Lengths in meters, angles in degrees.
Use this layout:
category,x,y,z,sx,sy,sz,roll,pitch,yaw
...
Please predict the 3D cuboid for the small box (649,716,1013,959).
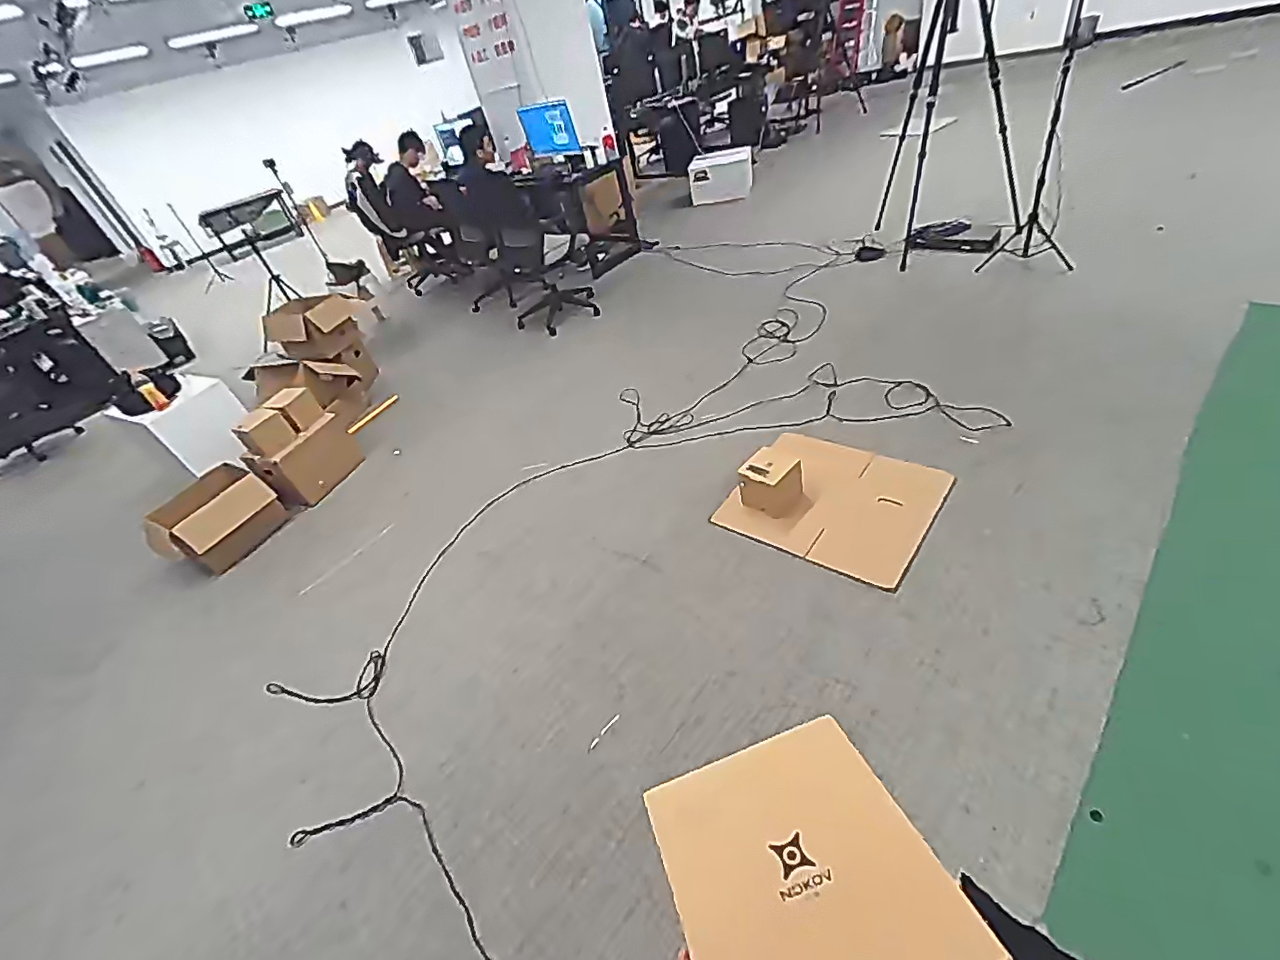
category,x,y,z,sx,sy,sz,roll,pitch,yaw
small box,0.120,0.318,0.389,0.168,0.176,0.179,-18,27,-9
